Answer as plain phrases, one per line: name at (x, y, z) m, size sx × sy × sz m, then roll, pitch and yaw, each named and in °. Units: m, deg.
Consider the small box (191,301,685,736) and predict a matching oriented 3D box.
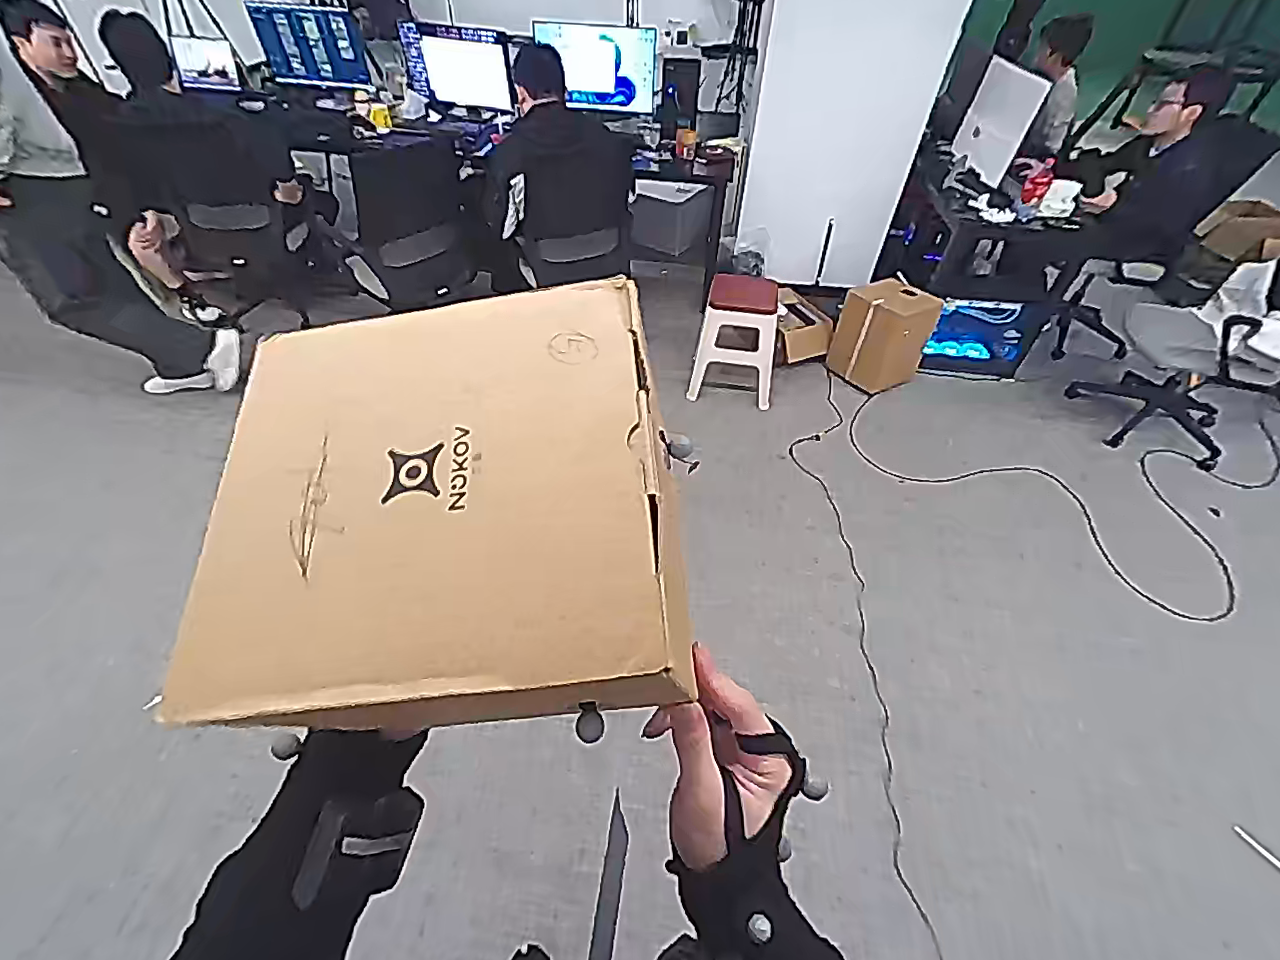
small box at (-0.072, 0.037, 0.291) m, size 0.179 × 0.176 × 0.168 m, roll -10°, pitch 64°, yaw 6°
